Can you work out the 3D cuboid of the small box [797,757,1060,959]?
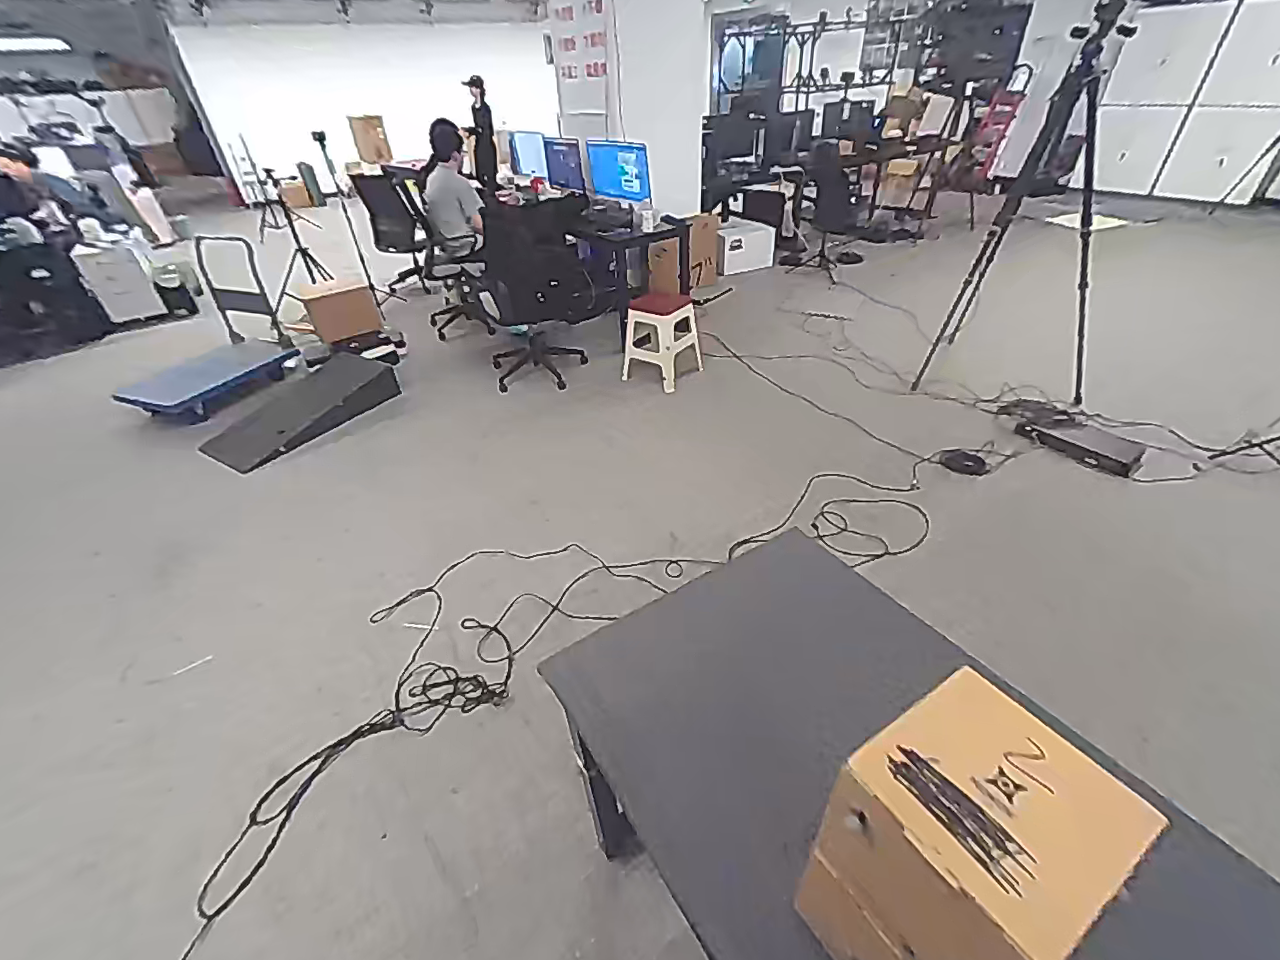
[{"bbox_3d":[0.292,0.452,0.583,0.179,0.176,0.168,-24,41,-26],"label":"small box"}]
